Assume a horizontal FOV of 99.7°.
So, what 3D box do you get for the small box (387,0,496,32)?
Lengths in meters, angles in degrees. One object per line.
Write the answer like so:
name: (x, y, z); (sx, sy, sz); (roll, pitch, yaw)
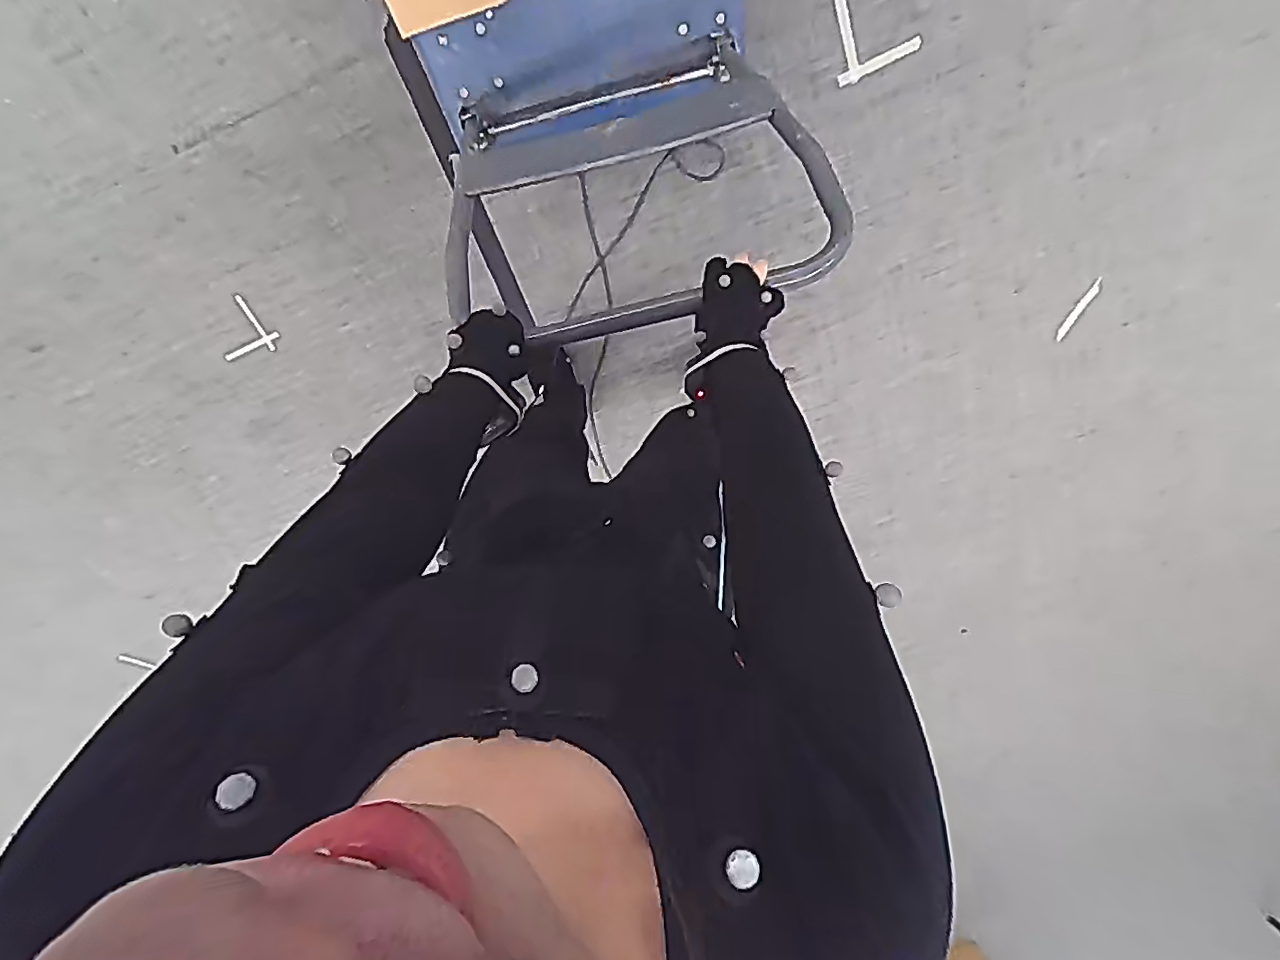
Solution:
small box: (-0.305, -0.803, 0.800); (0.179, 0.176, 0.168); (-16, 138, 6)
